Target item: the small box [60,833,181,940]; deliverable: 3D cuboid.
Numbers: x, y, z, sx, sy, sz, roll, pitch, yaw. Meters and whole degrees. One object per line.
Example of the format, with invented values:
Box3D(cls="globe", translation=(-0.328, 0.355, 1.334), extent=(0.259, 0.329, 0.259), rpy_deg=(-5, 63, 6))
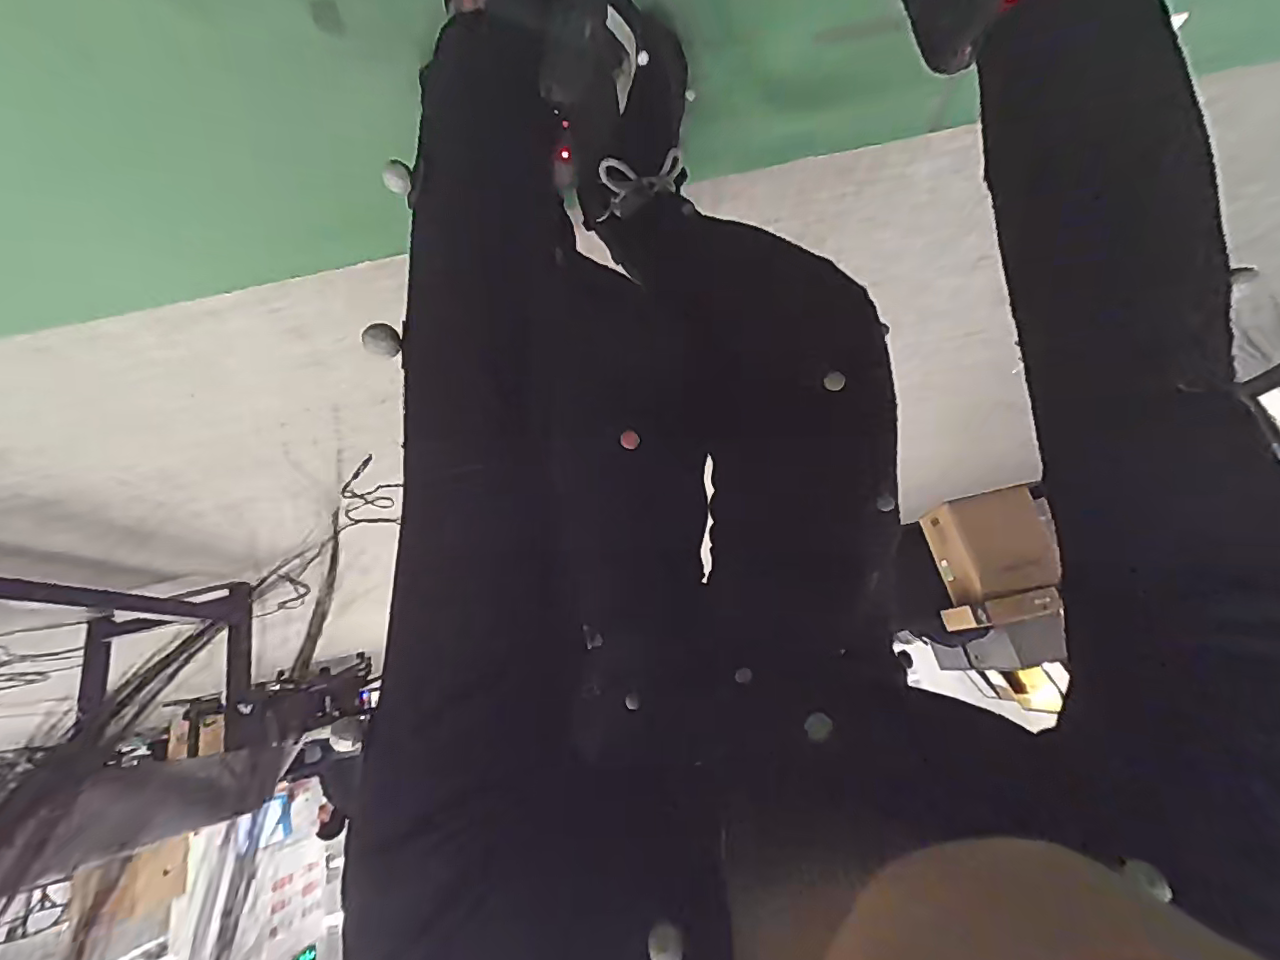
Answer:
Box3D(cls="small box", translation=(-1.400, 1.094, 1.468), extent=(0.168, 0.176, 0.179), rpy_deg=(-12, 161, -3))
